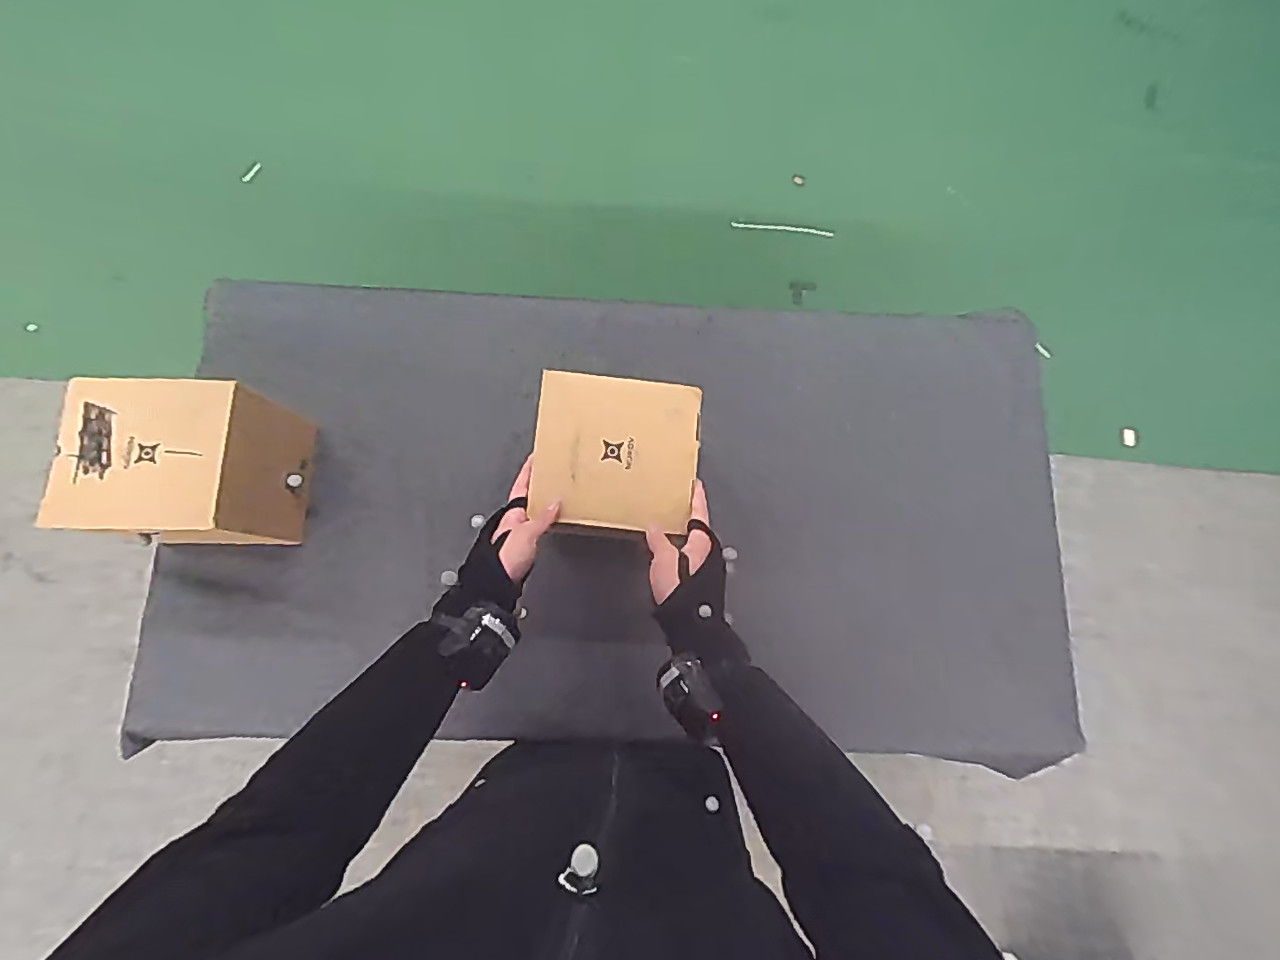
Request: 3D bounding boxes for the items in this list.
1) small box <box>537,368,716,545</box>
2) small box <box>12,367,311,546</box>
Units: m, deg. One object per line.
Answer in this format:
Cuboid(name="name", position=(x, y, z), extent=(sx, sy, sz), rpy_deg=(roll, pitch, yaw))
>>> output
Cuboid(name="small box", position=(-0.018, -0.015, 0.640), extent=(0.179, 0.176, 0.168), rpy_deg=(6, 78, -4))
Cuboid(name="small box", position=(-0.514, -0.015, 0.613), extent=(0.179, 0.176, 0.168), rpy_deg=(1, 77, -6))
